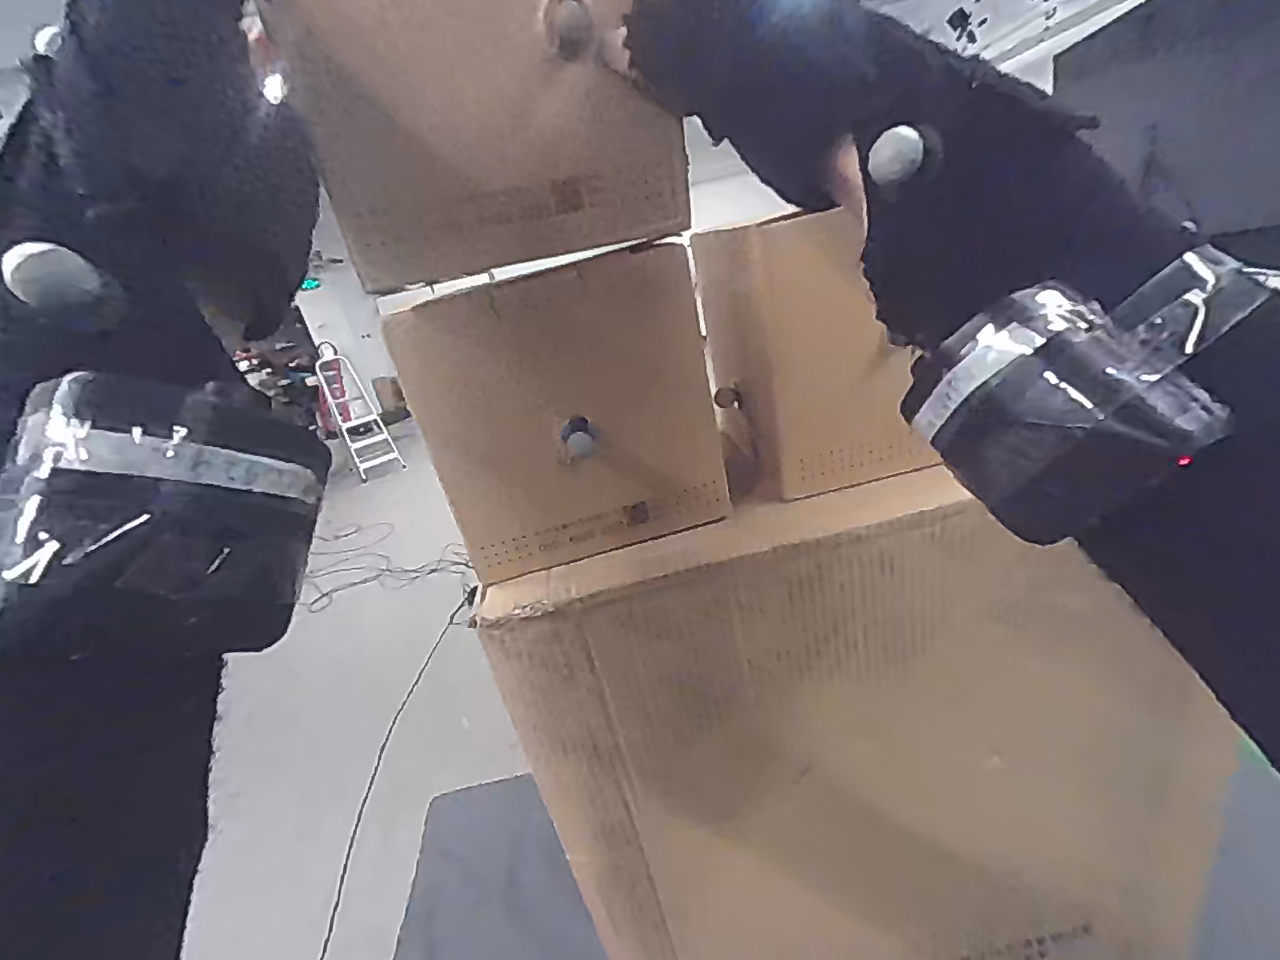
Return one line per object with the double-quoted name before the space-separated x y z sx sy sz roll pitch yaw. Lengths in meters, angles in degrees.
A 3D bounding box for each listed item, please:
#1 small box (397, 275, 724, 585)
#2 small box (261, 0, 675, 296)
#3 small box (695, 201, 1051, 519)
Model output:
"small box" -0.050 -0.042 0.400 0.168 0.176 0.179 -17 24 -5
"small box" -0.084 -0.209 0.314 0.168 0.176 0.179 -12 25 -7
"small box" 0.151 -0.092 0.401 0.179 0.176 0.168 -13 23 0
